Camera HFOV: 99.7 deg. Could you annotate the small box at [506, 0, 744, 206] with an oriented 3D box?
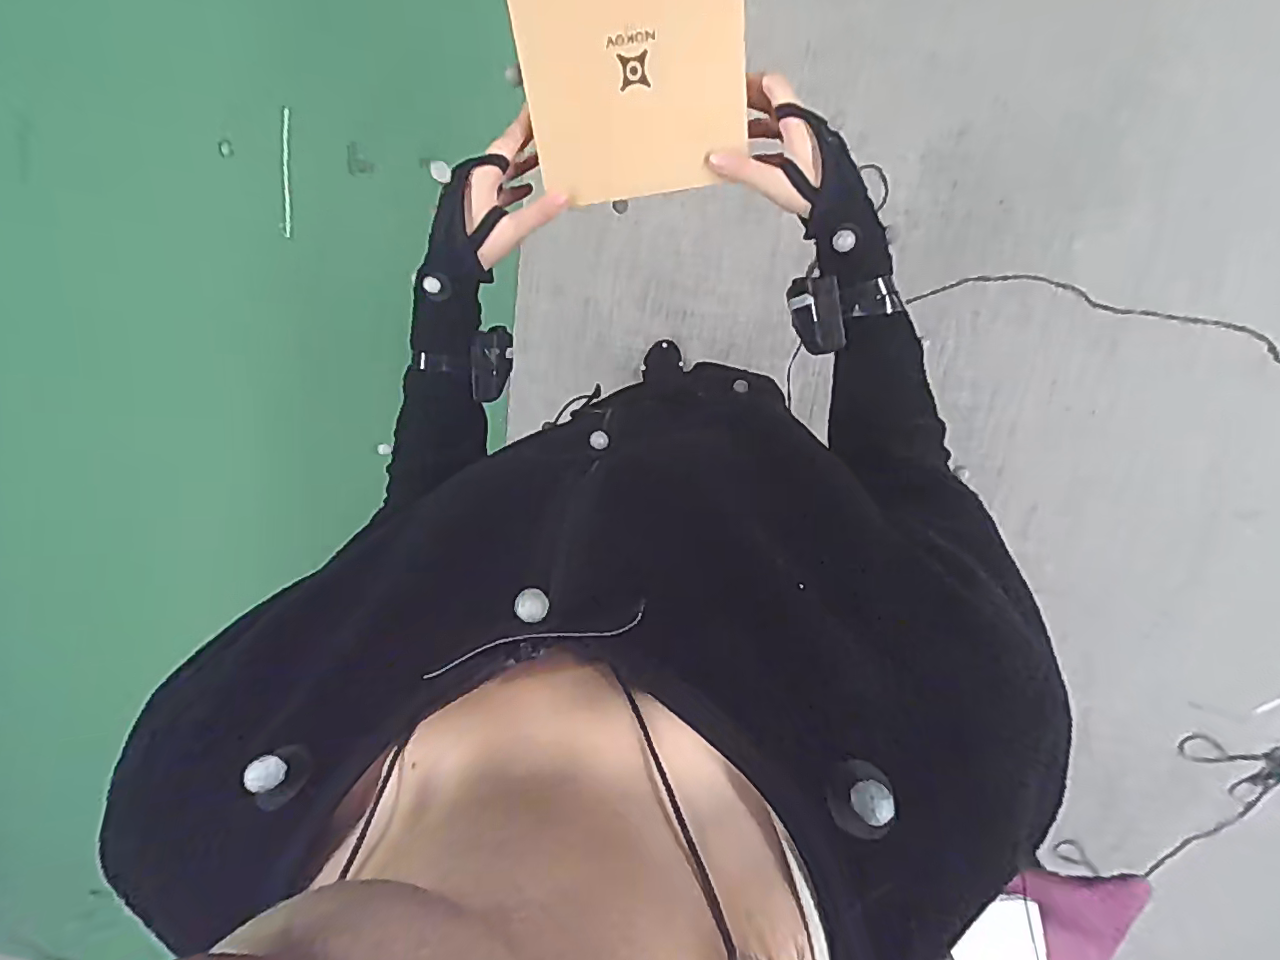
[{"bbox_3d":[-0.009,-0.344,0.457,0.168,0.176,0.179,-8,119,1],"label":"small box"}]
